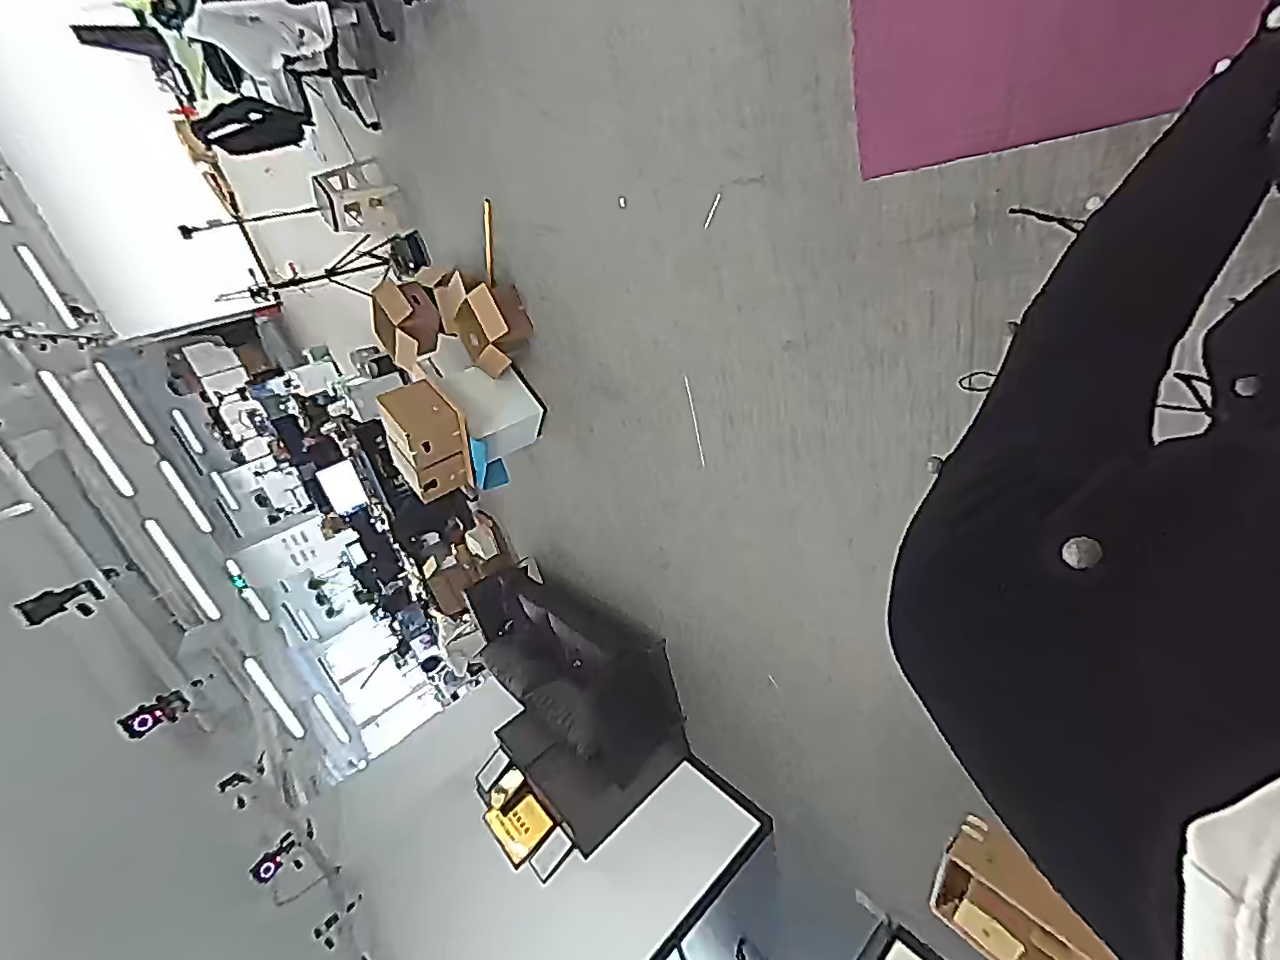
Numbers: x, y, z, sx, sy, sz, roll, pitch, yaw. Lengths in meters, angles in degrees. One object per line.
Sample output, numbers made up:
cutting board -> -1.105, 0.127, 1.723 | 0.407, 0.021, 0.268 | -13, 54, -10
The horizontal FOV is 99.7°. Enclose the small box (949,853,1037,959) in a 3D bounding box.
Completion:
small box -> 1.105, 1.325, 1.690 | 0.168, 0.176, 0.179 | 28, 136, 40
